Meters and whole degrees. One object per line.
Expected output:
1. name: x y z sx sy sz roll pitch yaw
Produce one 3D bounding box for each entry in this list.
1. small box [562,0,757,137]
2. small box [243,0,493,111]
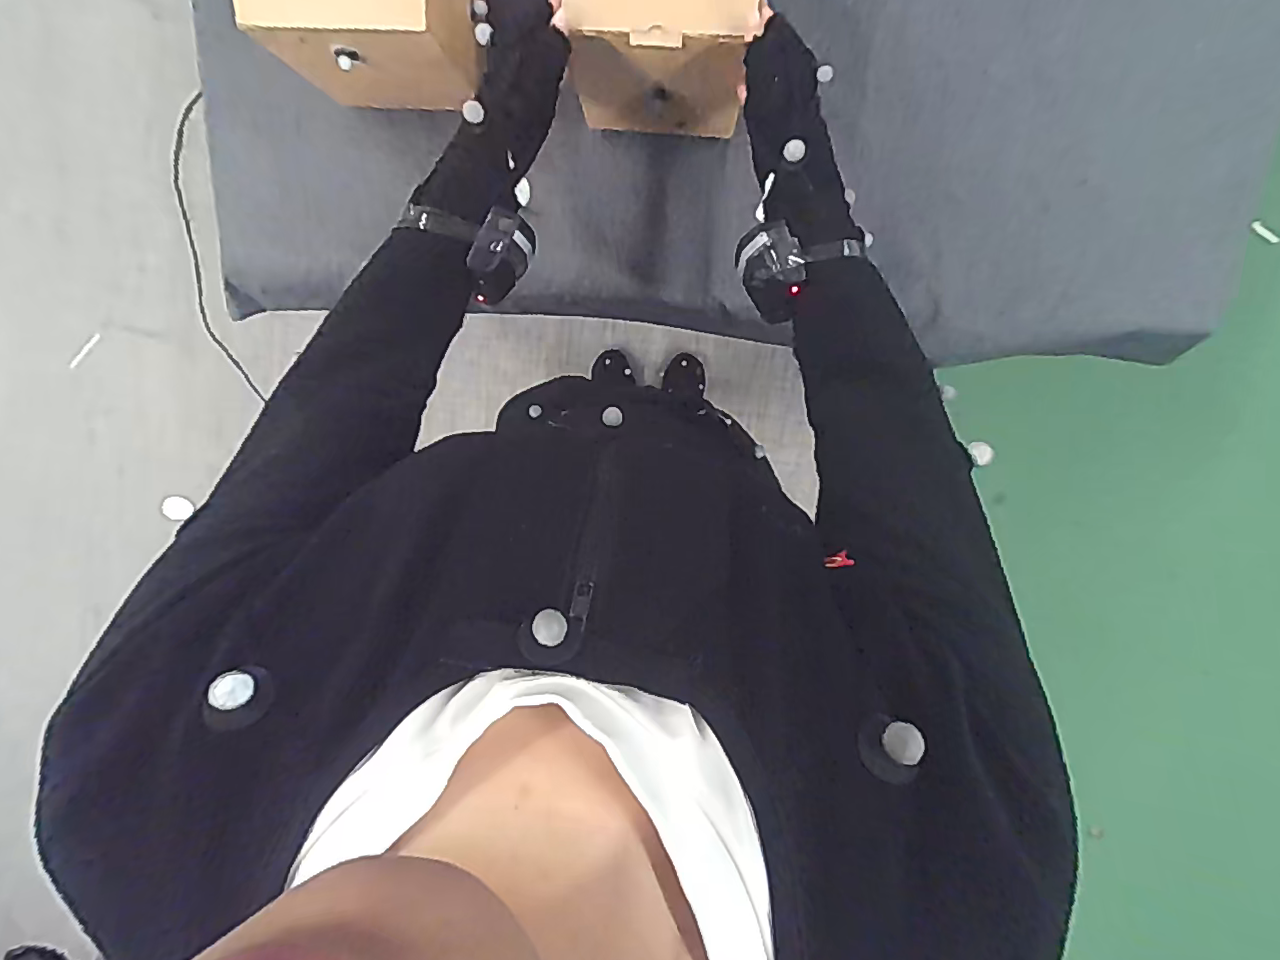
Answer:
1. small box: 0.028 -0.463 0.521 0.168 0.176 0.179 6 98 3
2. small box: -0.259 -0.497 0.541 0.179 0.176 0.168 4 104 2
